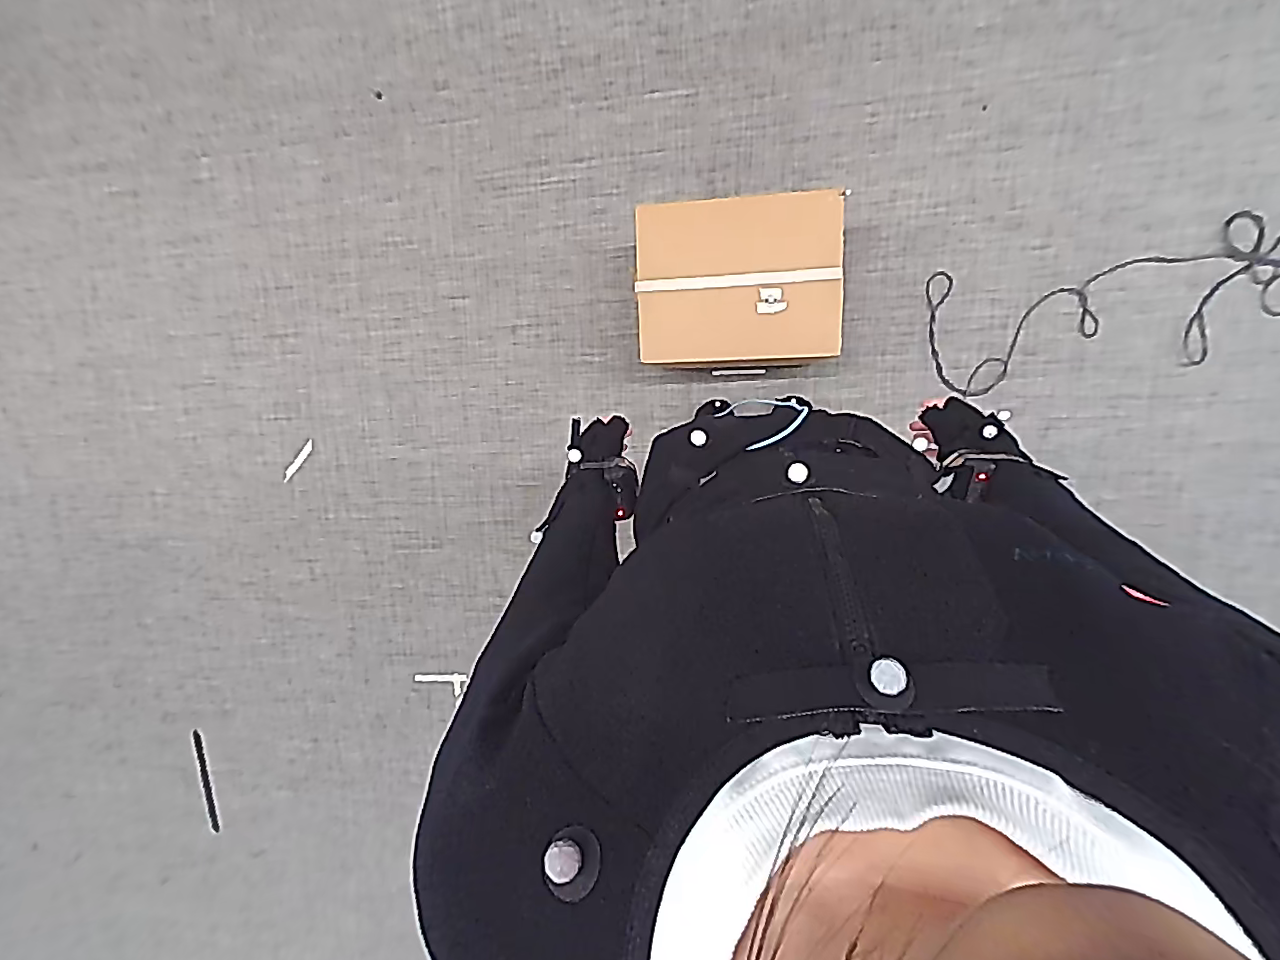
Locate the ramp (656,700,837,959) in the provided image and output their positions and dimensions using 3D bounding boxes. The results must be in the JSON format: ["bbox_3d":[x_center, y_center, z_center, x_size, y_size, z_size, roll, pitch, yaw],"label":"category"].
[{"bbox_3d":[0.291,1.139,1.521,0.509,0.206,0.991,0,98,10],"label":"ramp"}]

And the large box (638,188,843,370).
[{"bbox_3d":[0.217,-0.424,1.227,0.408,0.320,0.320,-1,100,8],"label":"large box"}]
